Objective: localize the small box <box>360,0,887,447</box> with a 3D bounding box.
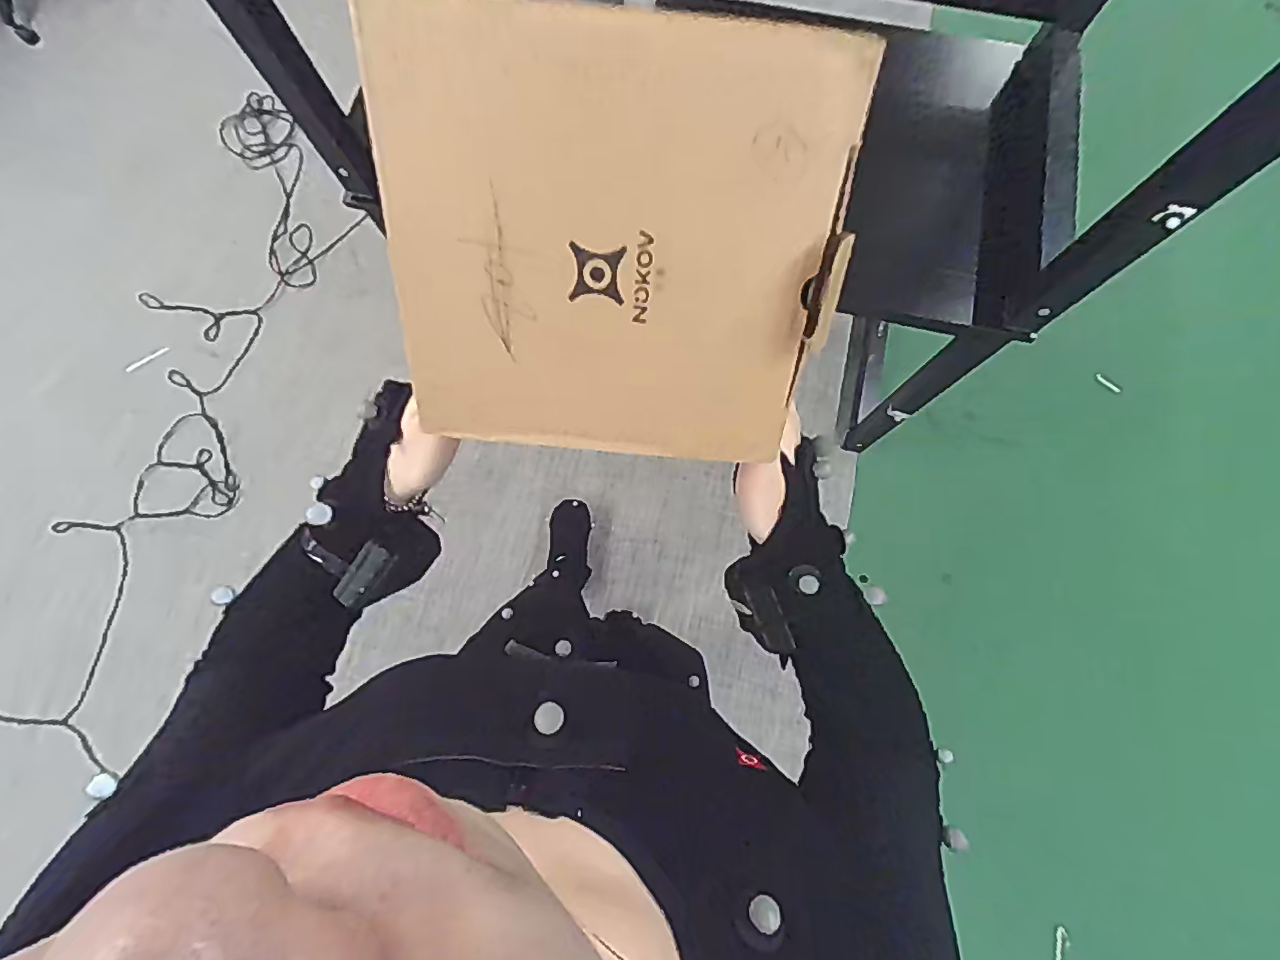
[{"bbox_3d":[-0.009,-0.135,0.284,0.179,0.168,0.176,6,33,0],"label":"small box"}]
